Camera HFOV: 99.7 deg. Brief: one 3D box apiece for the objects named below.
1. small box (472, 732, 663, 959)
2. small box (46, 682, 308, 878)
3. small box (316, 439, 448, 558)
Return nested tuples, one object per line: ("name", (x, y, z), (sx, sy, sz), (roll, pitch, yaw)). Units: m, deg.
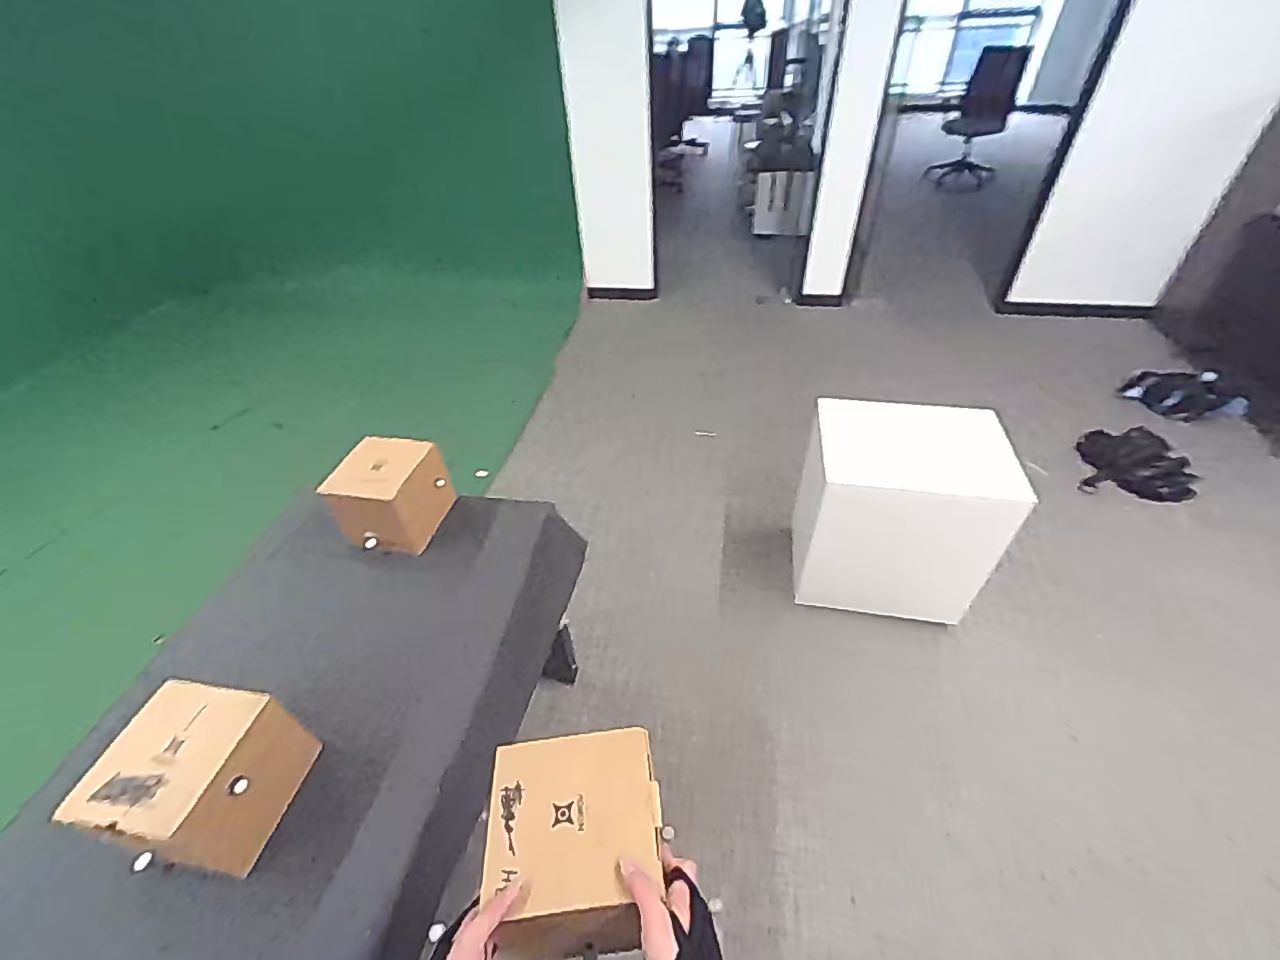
("small box", (-0.067, 0.408, 0.601), (0.179, 0.176, 0.168), (-6, 36, -1))
("small box", (-0.597, 0.405, 0.730), (0.168, 0.176, 0.179), (5, 42, 9))
("small box", (-0.524, 0.037, 1.134), (0.168, 0.176, 0.179), (5, 44, 10))
